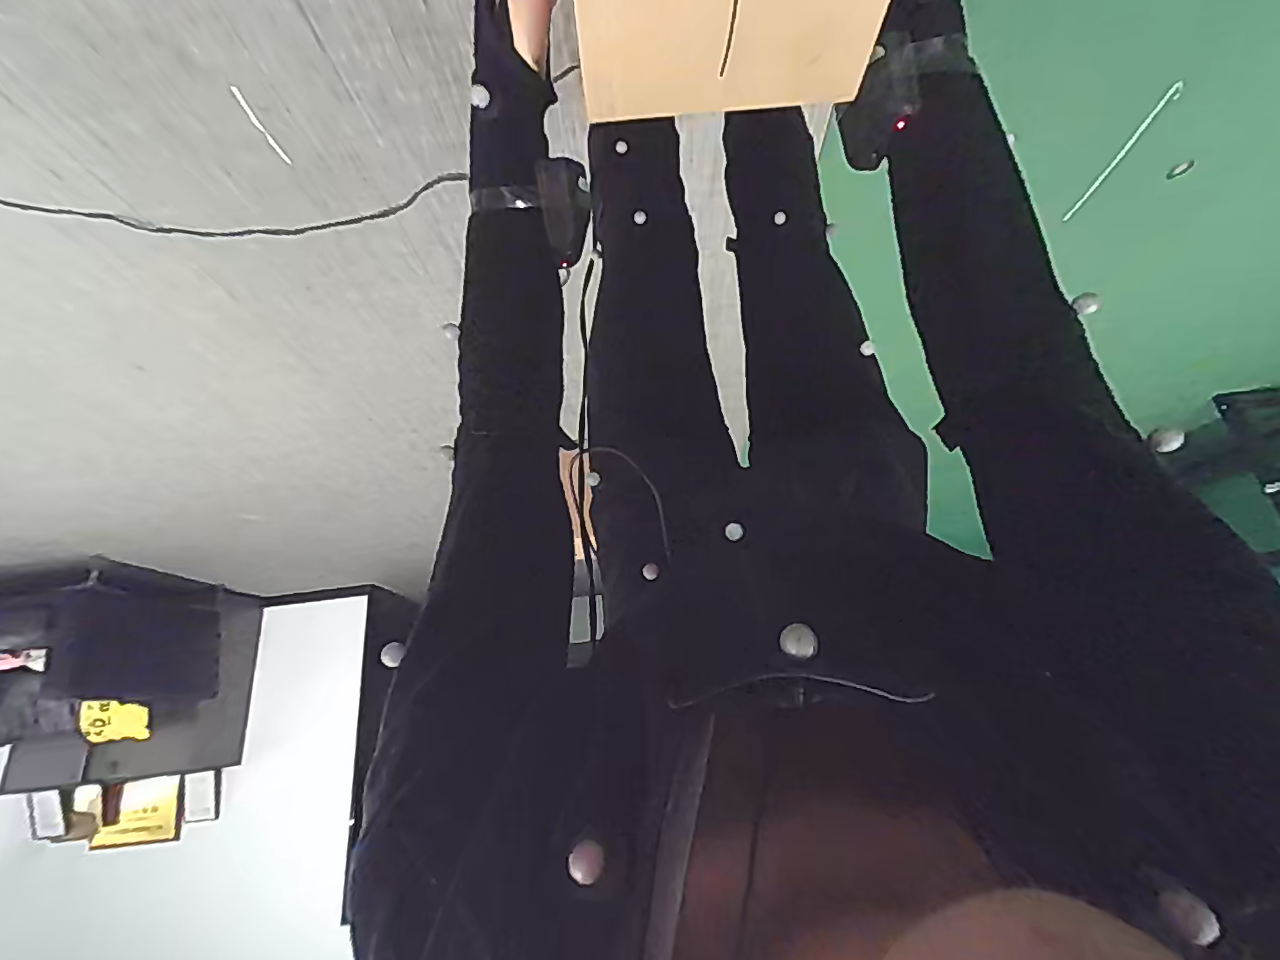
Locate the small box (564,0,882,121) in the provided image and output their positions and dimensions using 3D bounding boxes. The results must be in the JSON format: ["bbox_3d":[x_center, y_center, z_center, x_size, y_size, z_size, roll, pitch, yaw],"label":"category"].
[{"bbox_3d":[0.036,-0.327,0.273,0.168,0.176,0.179,-5,159,-1],"label":"small box"}]
